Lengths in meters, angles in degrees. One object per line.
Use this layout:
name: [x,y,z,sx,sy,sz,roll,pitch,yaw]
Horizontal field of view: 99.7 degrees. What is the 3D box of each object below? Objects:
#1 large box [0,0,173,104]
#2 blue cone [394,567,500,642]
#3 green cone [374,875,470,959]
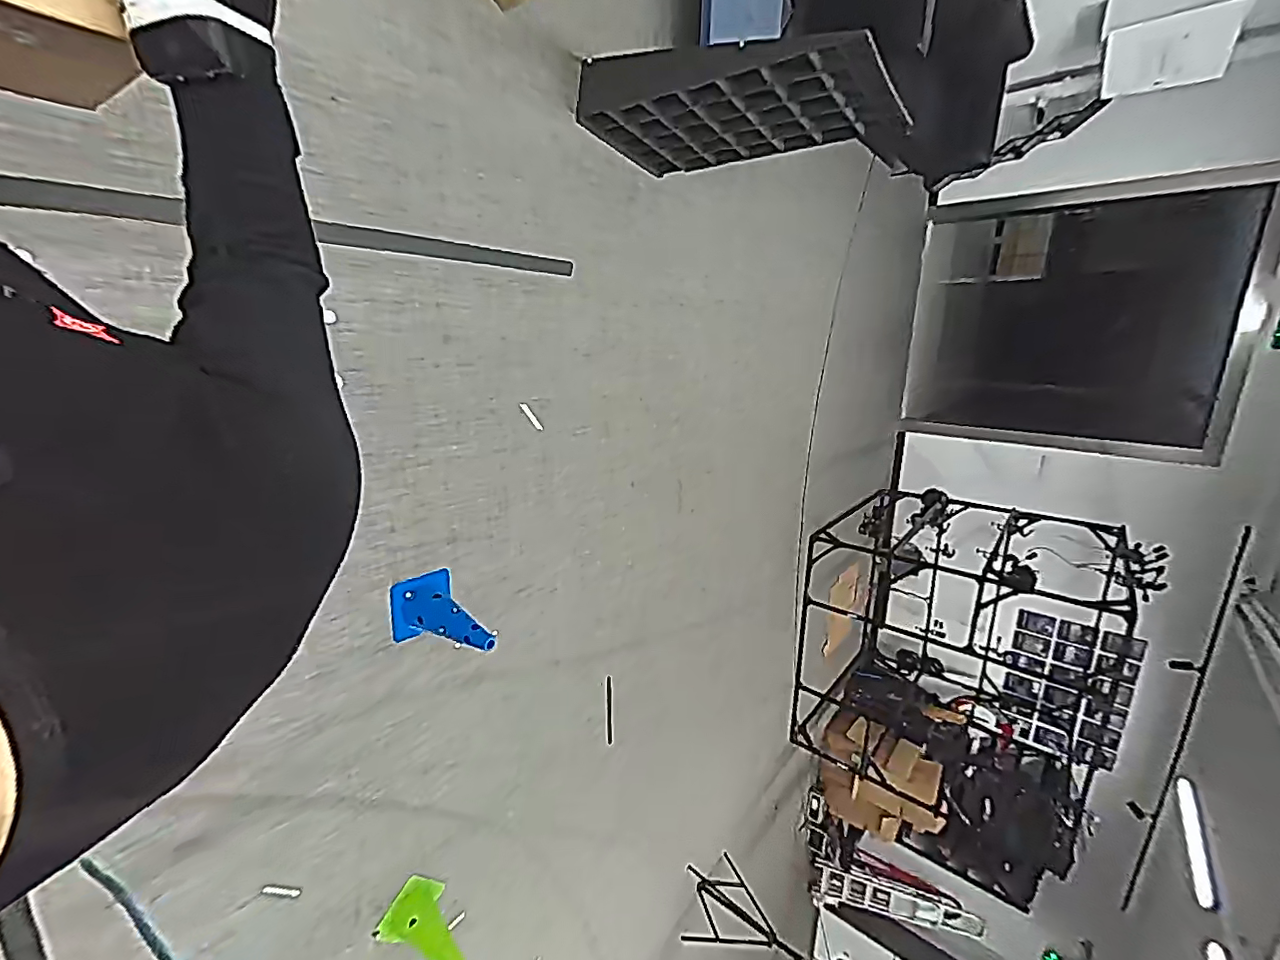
large box: [-0.546,-0.437,0.258,0.408,0.320,0.320,-17,119,-49]
blue cone: [-0.565,0.414,1.633,0.192,0.380,0.193,-13,110,-51]
green cone: [-0.667,1.530,1.790,0.202,0.368,0.200,-57,139,-28]
